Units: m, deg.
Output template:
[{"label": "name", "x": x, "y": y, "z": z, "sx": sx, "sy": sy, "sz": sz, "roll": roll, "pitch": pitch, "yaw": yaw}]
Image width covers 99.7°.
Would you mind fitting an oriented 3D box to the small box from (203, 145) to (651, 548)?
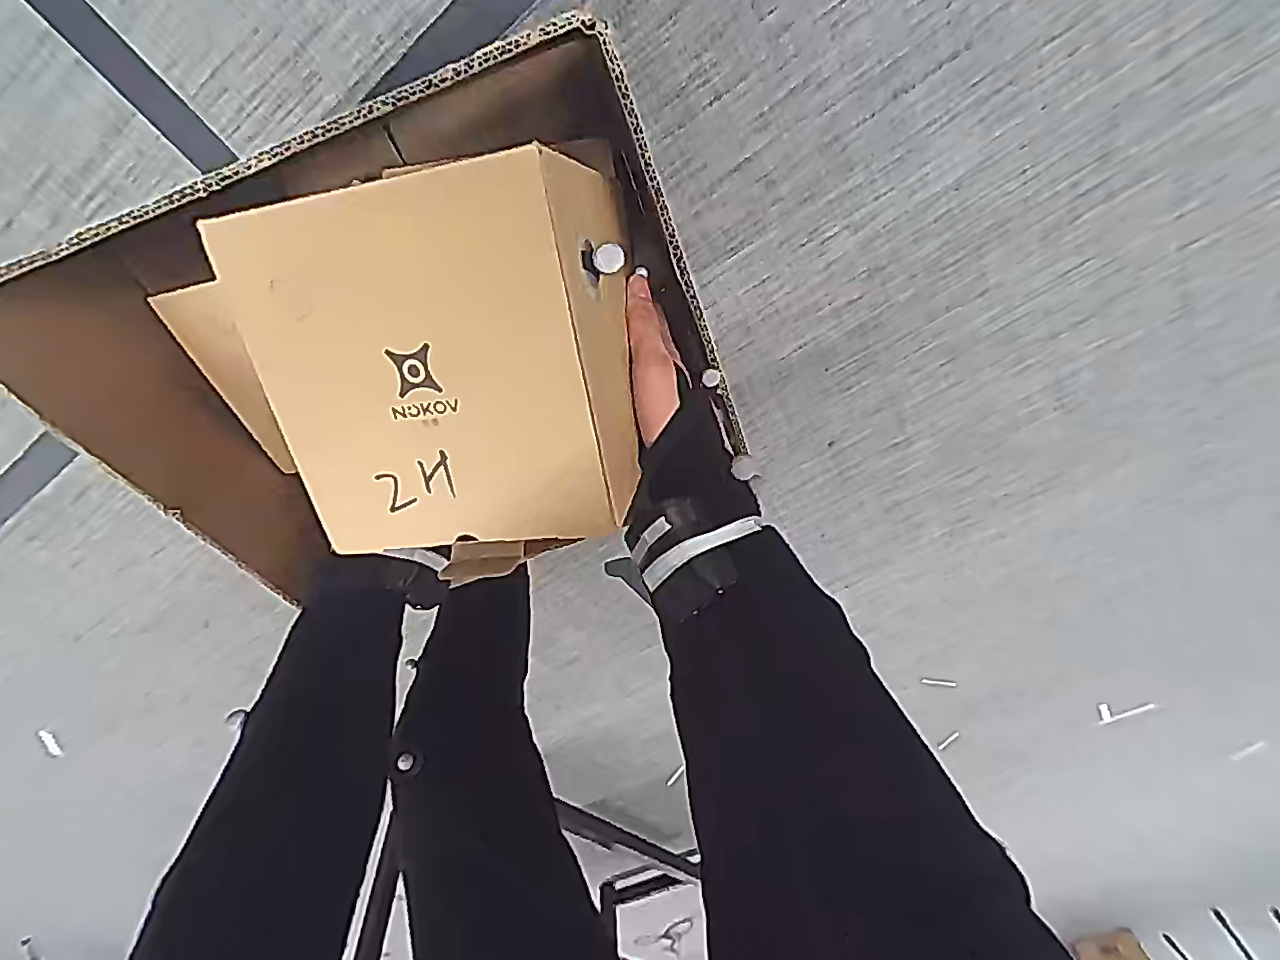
[{"label": "small box", "x": -0.094, "y": -0.079, "z": 0.332, "sx": 0.168, "sy": 0.176, "sz": 0.179, "roll": -5, "pitch": 114, "yaw": 13}]
